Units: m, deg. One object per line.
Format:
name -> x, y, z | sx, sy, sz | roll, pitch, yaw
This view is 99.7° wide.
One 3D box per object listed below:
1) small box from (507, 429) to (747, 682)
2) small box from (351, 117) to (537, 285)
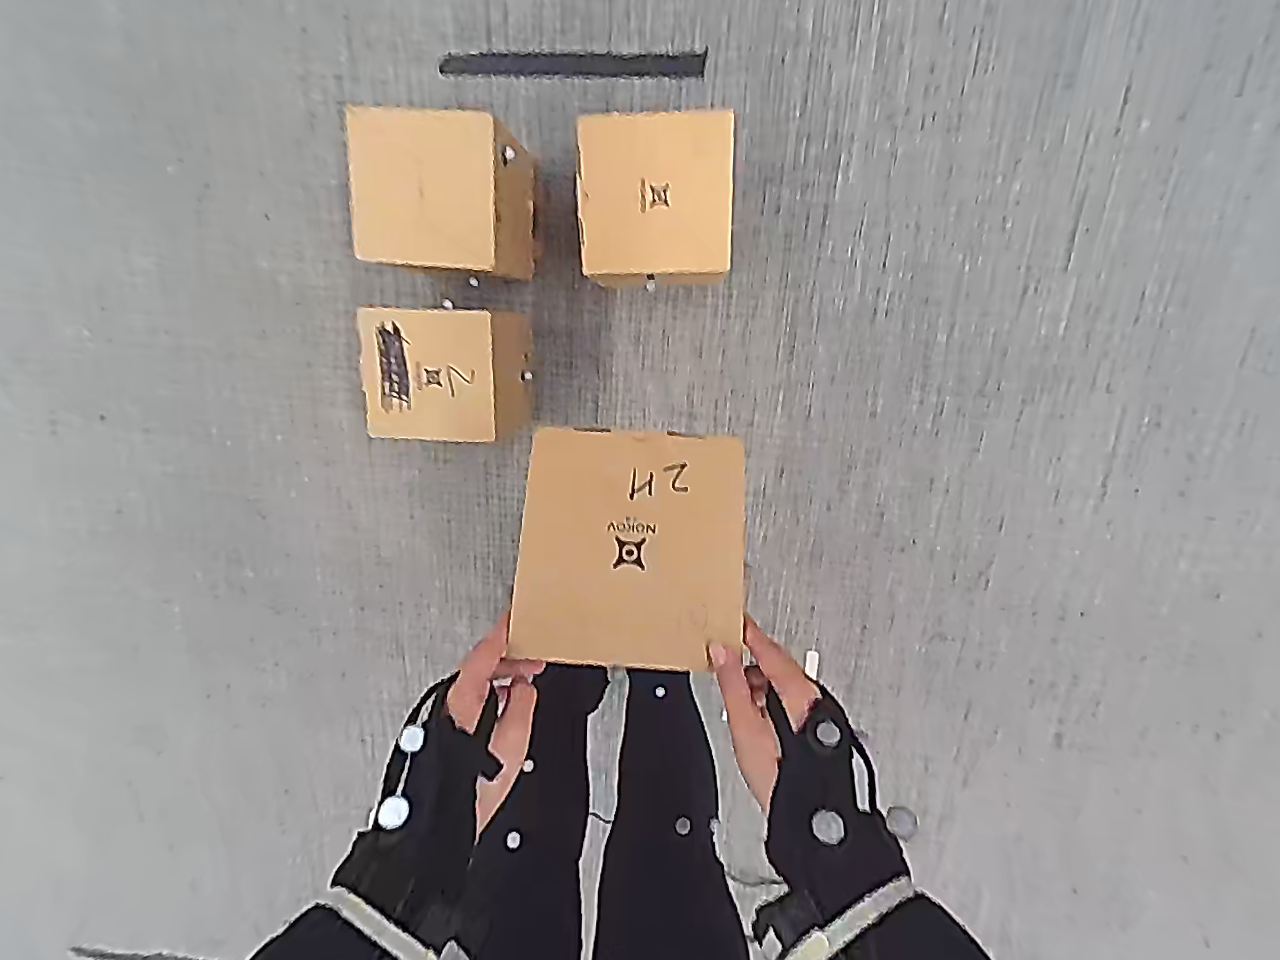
small box -> -0.005, 0.071, 0.470 | 0.168, 0.176, 0.179 | 4, 73, 0
small box -> -0.243, -0.353, 0.711 | 0.179, 0.176, 0.168 | 5, 105, 4
